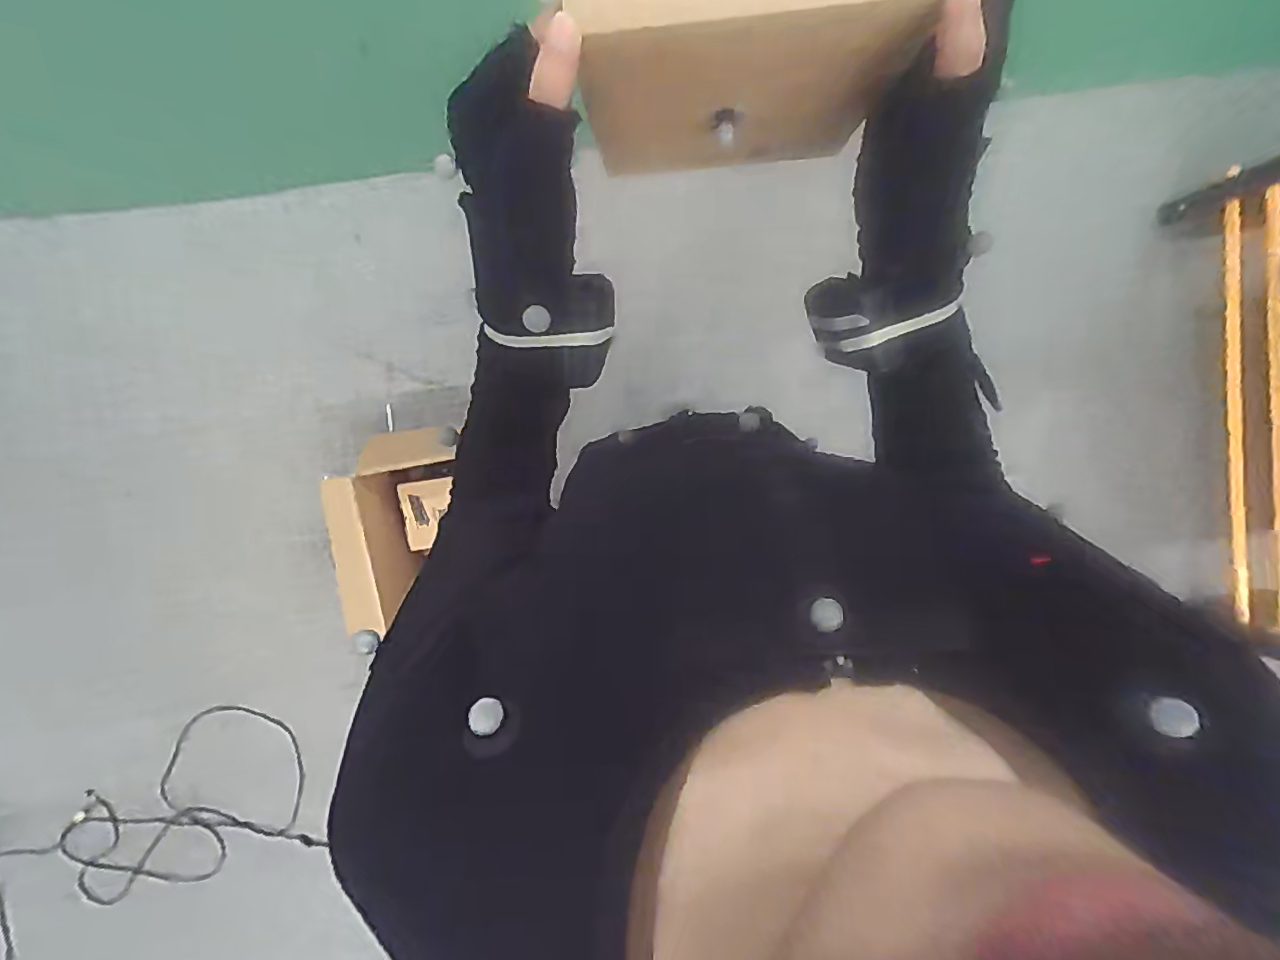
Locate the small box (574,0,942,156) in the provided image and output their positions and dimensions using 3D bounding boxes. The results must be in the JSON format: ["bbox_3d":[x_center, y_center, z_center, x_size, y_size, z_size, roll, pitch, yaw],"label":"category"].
[{"bbox_3d":[0.052,-0.300,0.296,0.168,0.176,0.179,-4,100,3],"label":"small box"}]
